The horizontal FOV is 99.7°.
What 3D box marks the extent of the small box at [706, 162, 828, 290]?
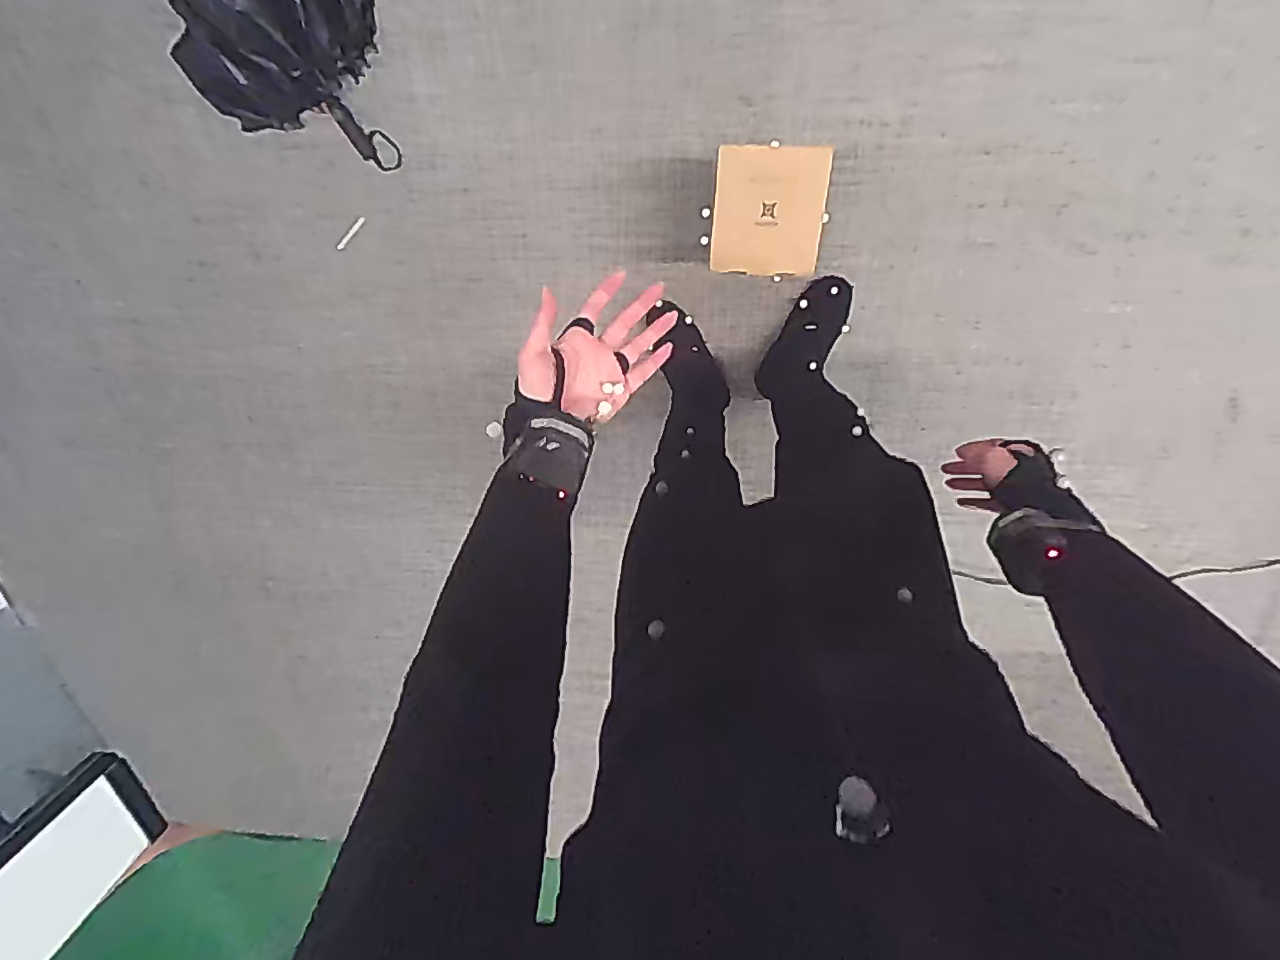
[{"bbox_3d":[0.197,-0.416,0.893,0.168,0.176,0.179,3,115,4],"label":"small box"}]
